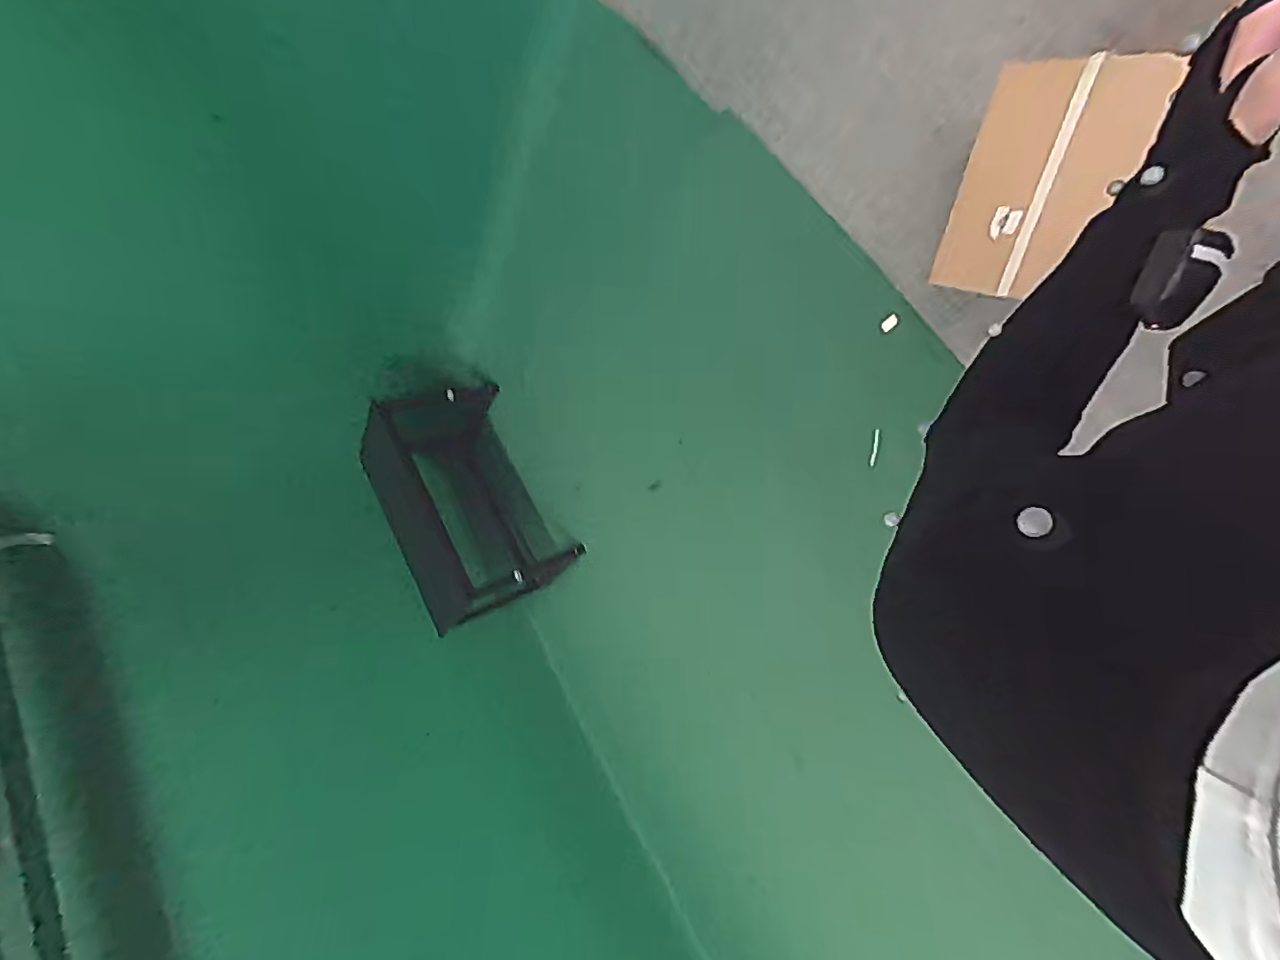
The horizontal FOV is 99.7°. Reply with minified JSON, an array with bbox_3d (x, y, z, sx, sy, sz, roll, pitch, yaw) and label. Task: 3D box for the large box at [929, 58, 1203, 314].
[{"bbox_3d":[0.875,-0.589,1.132,0.320,0.320,0.408,30,125,38],"label":"large box"}]
